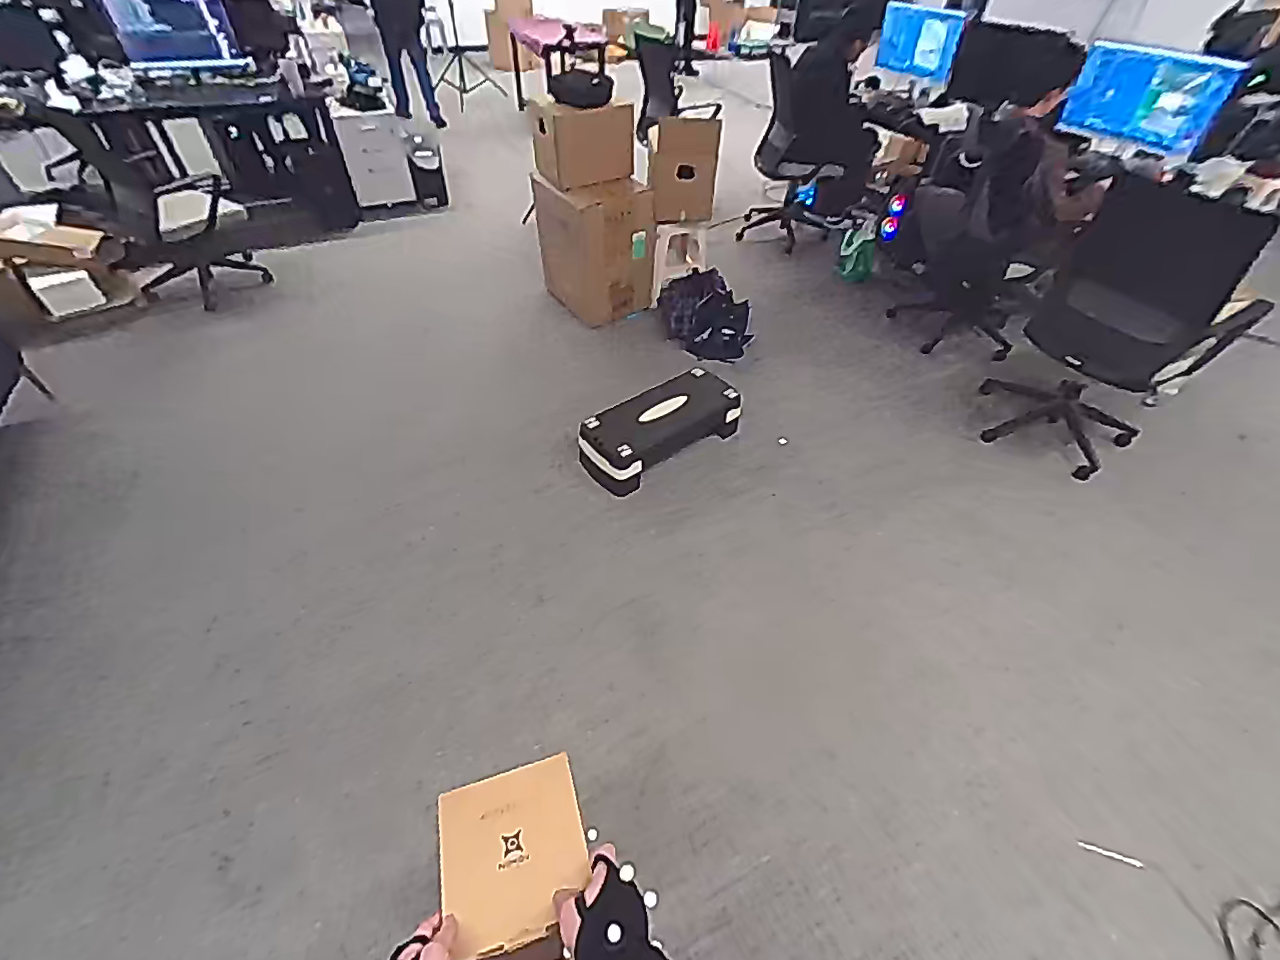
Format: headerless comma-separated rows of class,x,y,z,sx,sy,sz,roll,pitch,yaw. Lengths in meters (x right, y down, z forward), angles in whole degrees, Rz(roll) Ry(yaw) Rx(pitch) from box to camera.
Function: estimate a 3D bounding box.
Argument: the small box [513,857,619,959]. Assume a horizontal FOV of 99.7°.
small box,-0.152,0.936,1.129,0.168,0.176,0.179,-19,50,-18
